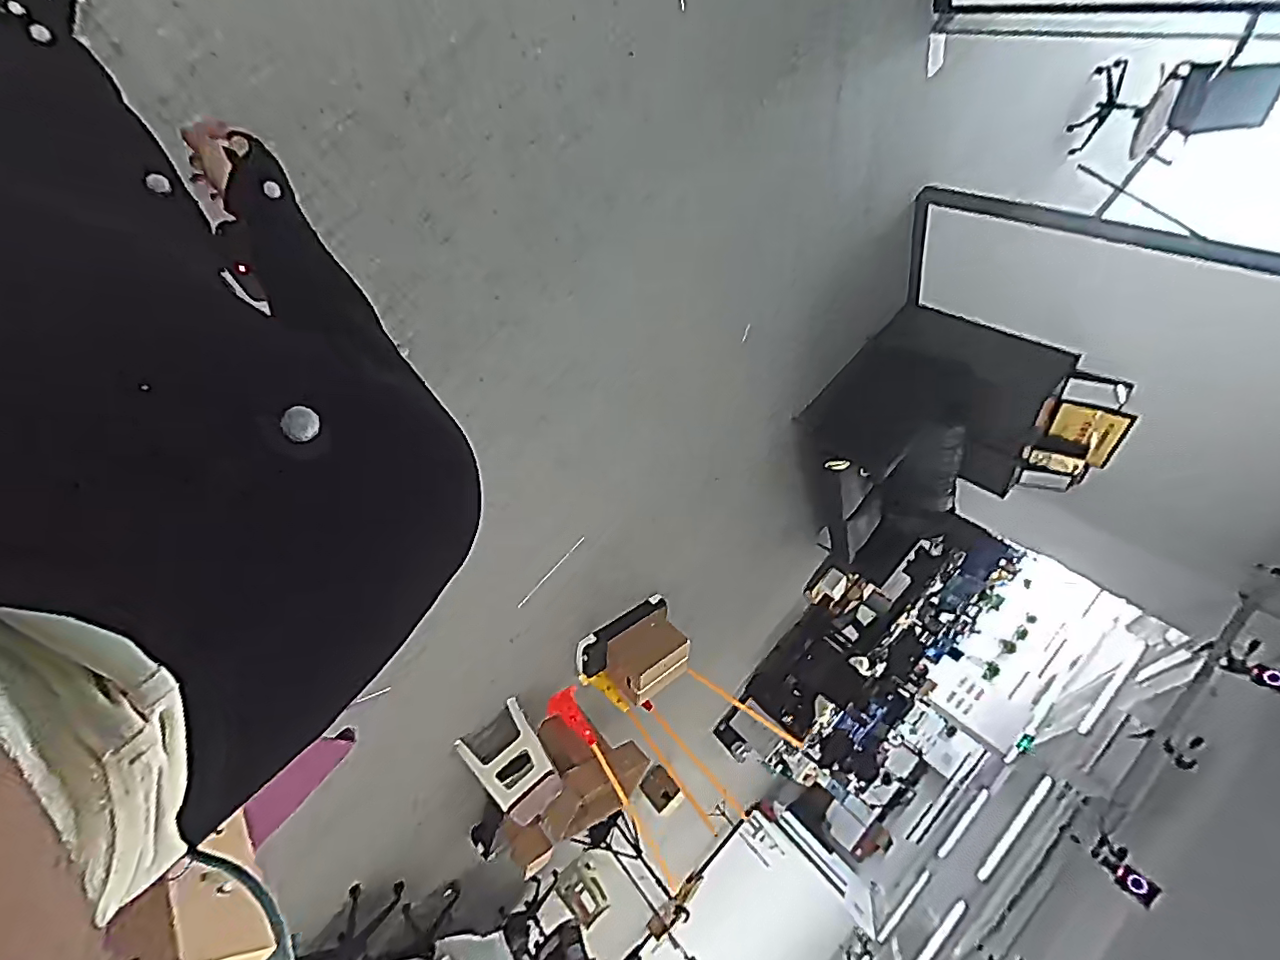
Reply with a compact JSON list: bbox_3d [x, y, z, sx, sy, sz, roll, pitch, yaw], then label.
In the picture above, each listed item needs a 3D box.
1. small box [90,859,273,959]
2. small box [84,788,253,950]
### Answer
[{"bbox_3d":[-0.775,0.789,0.913,0.179,0.176,0.168,-47,145,-8],"label":"small box"},{"bbox_3d":[-0.880,0.705,1.007,0.179,0.176,0.168,-47,145,-7],"label":"small box"}]
